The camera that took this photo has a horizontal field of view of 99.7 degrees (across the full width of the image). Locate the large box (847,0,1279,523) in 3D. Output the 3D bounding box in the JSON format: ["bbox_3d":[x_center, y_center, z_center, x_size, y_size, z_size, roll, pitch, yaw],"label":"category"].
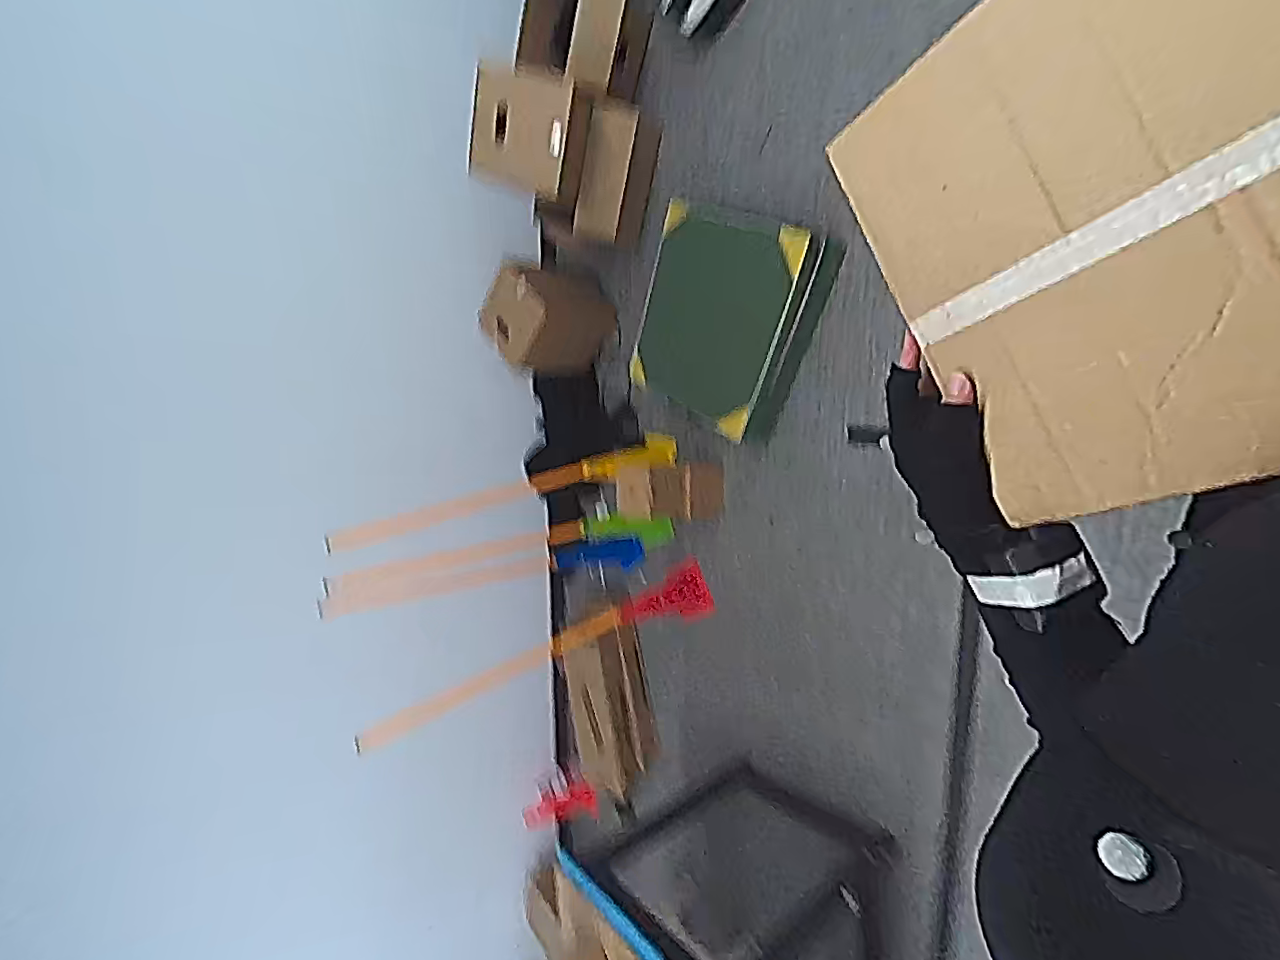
[{"bbox_3d":[0.434,-0.205,0.345,0.408,0.320,0.320,-27,84,51],"label":"large box"}]
